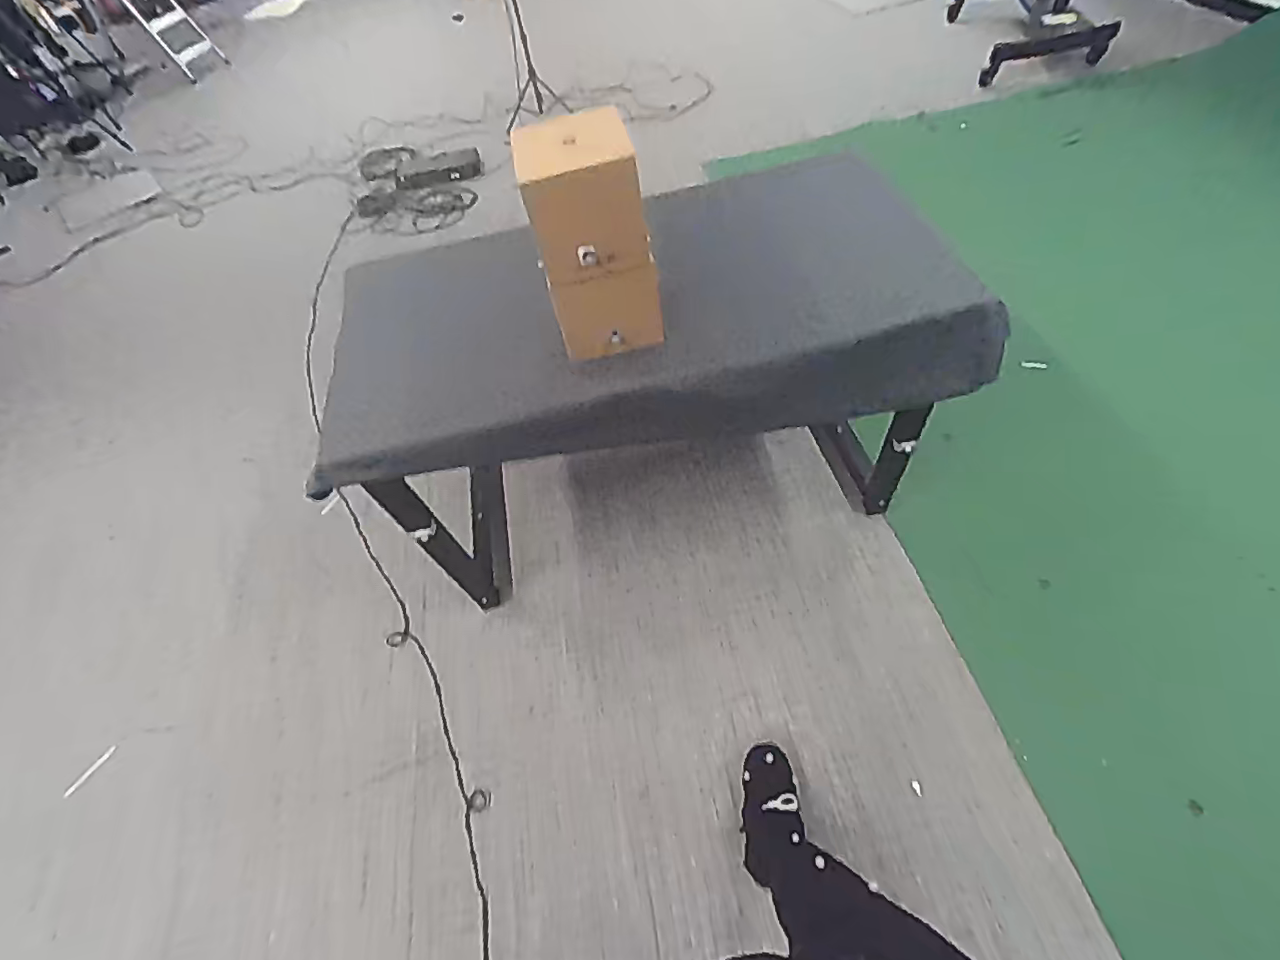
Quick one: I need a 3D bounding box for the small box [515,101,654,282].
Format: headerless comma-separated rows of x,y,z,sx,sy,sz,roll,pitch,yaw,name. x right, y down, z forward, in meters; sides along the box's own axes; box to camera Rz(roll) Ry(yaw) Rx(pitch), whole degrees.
-0.082,-0.437,0.830,0.168,0.176,0.179,-15,56,2,small box

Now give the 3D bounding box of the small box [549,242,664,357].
-0.058,-0.347,0.962,0.179,0.176,0.168,-13,54,0,small box
